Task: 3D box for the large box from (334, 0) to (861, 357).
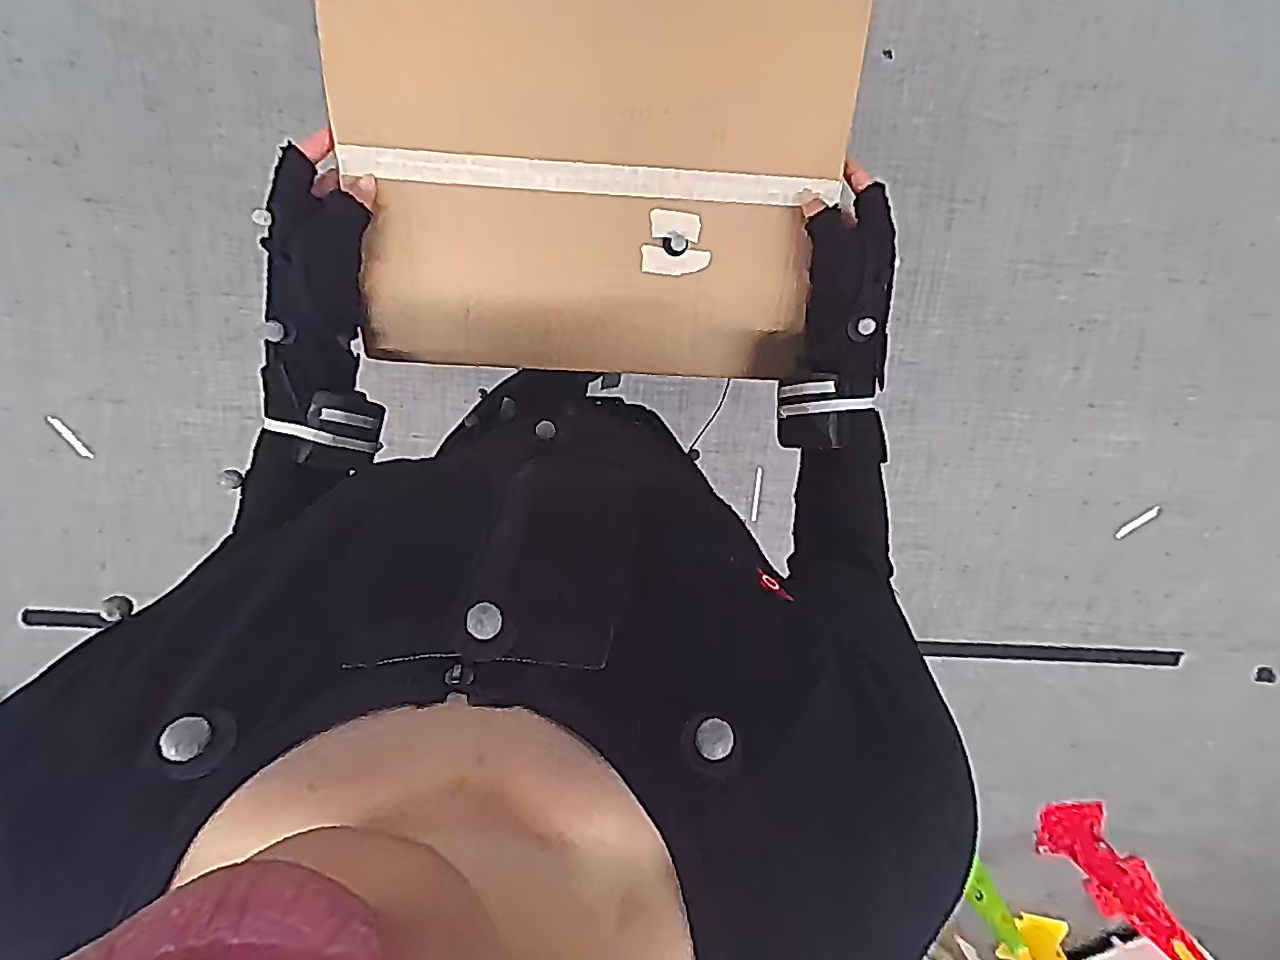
[{"bbox_3d":[-0.043,-0.316,0.584,0.408,0.320,0.320,1,113,-5],"label":"large box"}]
